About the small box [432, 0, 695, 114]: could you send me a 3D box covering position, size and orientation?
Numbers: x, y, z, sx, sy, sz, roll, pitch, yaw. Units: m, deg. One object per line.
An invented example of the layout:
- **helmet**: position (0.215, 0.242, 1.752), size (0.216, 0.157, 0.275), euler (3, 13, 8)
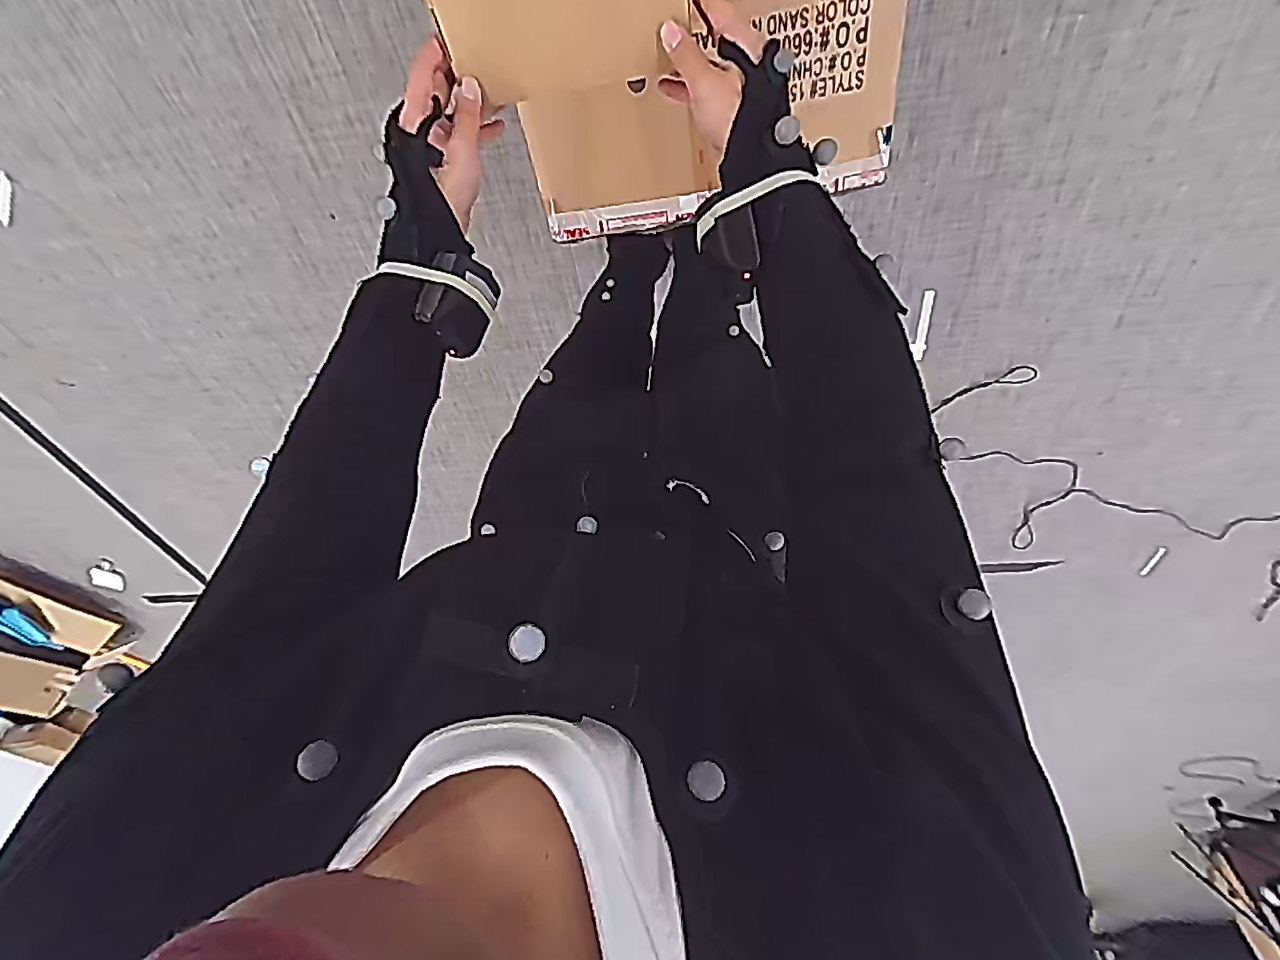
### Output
- **small box**: position (-0.055, -0.402, 0.396), size (0.179, 0.176, 0.168), euler (-4, 139, 9)
